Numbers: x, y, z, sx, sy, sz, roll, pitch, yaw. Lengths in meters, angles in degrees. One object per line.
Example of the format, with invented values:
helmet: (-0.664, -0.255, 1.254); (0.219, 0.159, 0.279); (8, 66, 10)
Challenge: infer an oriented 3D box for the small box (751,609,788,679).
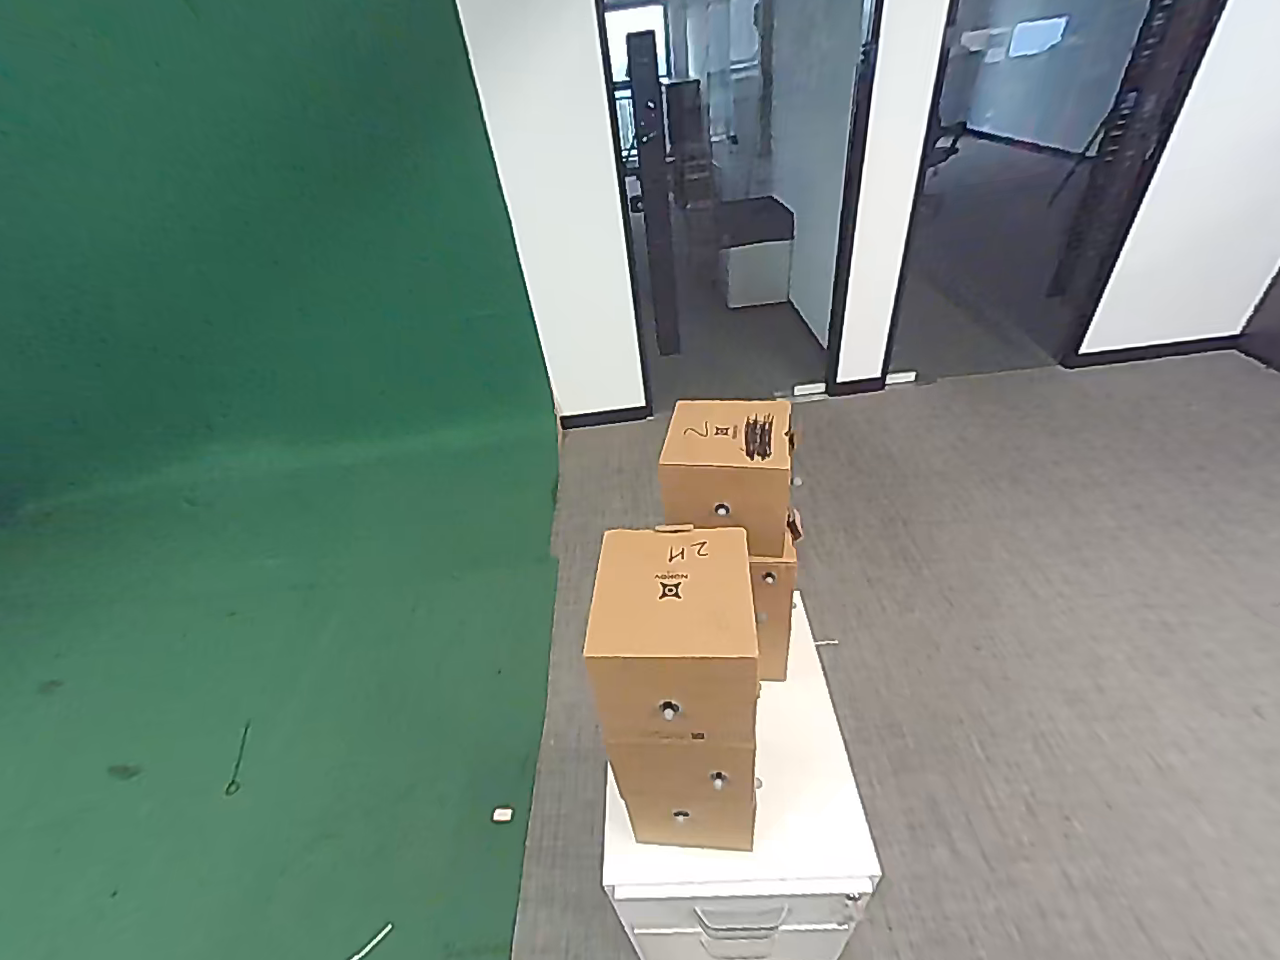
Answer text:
small box: (0.181, 0.256, 1.015); (0.179, 0.176, 0.168); (-1, 40, 10)

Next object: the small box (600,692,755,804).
small box: (0.056, 0.305, 0.715); (0.179, 0.176, 0.168); (-2, 37, 9)

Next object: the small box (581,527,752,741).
small box: (0.039, 0.174, 0.616); (0.168, 0.176, 0.179); (-1, 37, 7)

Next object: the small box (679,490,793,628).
small box: (0.158, 0.133, 0.912); (0.179, 0.176, 0.168); (0, 39, 9)

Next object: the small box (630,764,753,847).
small box: (0.077, 0.429, 0.817); (0.179, 0.176, 0.168); (0, 38, 8)
